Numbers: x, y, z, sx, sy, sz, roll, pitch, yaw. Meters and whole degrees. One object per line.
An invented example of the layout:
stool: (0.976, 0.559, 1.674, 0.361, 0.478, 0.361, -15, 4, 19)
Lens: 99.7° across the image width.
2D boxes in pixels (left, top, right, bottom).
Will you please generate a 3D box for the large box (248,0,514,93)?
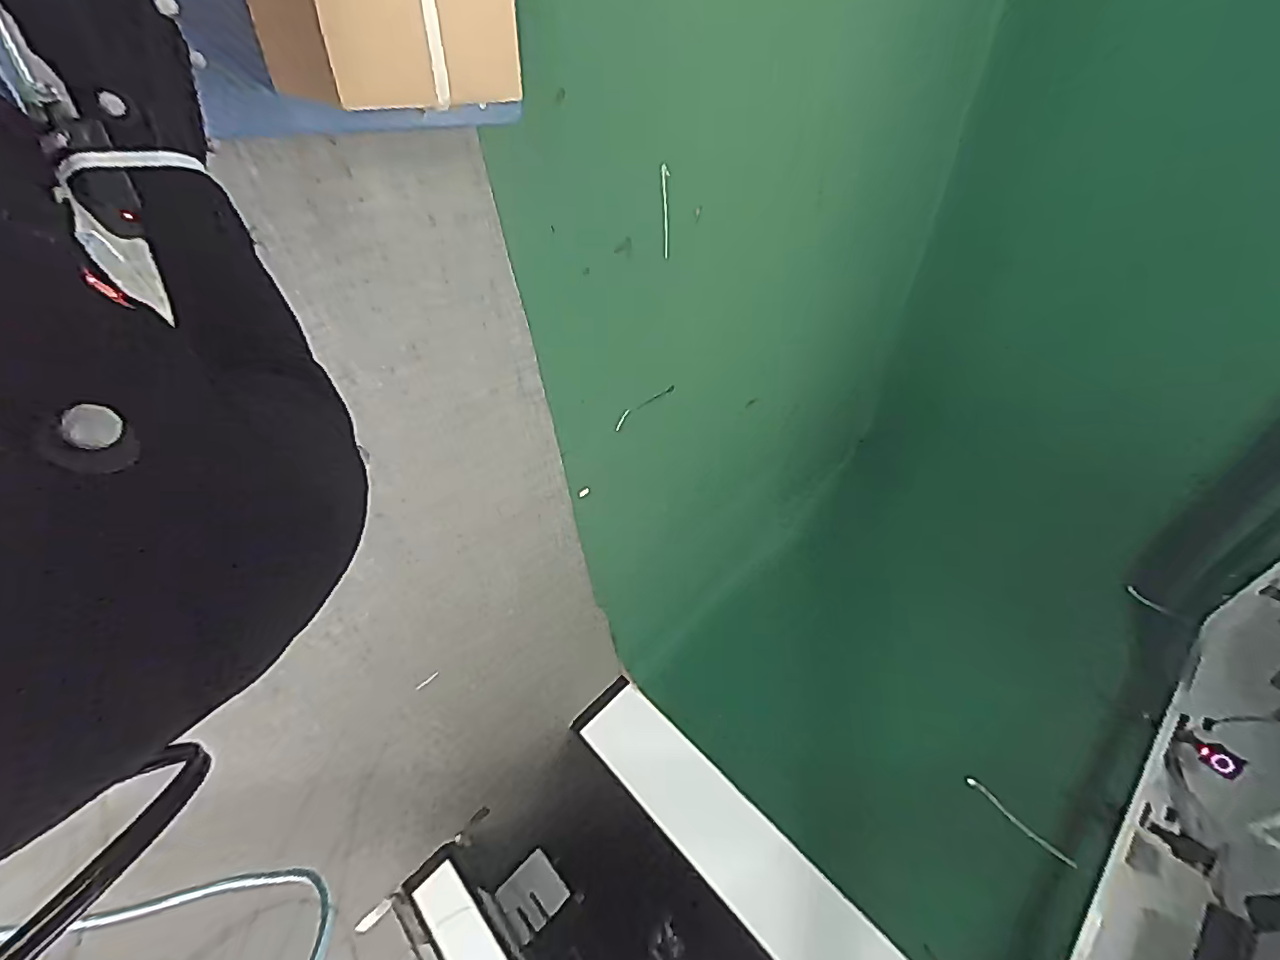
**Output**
large box: (-0.427, -0.848, 0.816, 0.320, 0.320, 0.408, -31, 140, -33)
